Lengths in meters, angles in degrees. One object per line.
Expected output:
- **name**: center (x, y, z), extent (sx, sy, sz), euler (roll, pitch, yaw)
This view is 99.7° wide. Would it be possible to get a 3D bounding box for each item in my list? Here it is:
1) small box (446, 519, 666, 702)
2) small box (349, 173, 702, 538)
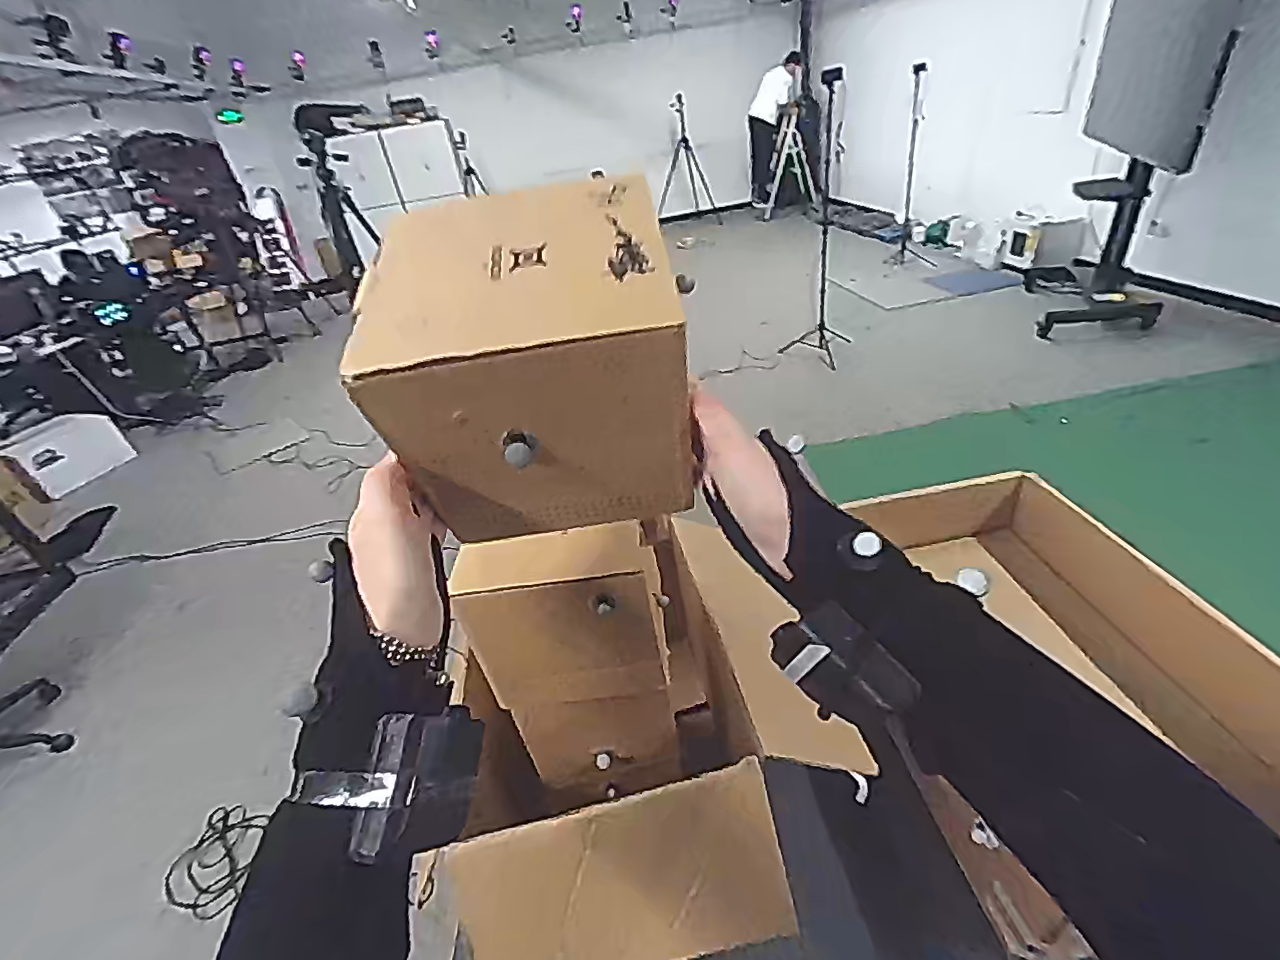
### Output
- **small box**: center (-0.073, 0.111, 0.569), extent (0.179, 0.176, 0.168), euler (-8, 34, 2)
- **small box**: center (-0.057, -0.075, 0.372), extent (0.179, 0.176, 0.168), euler (-9, 55, 2)
